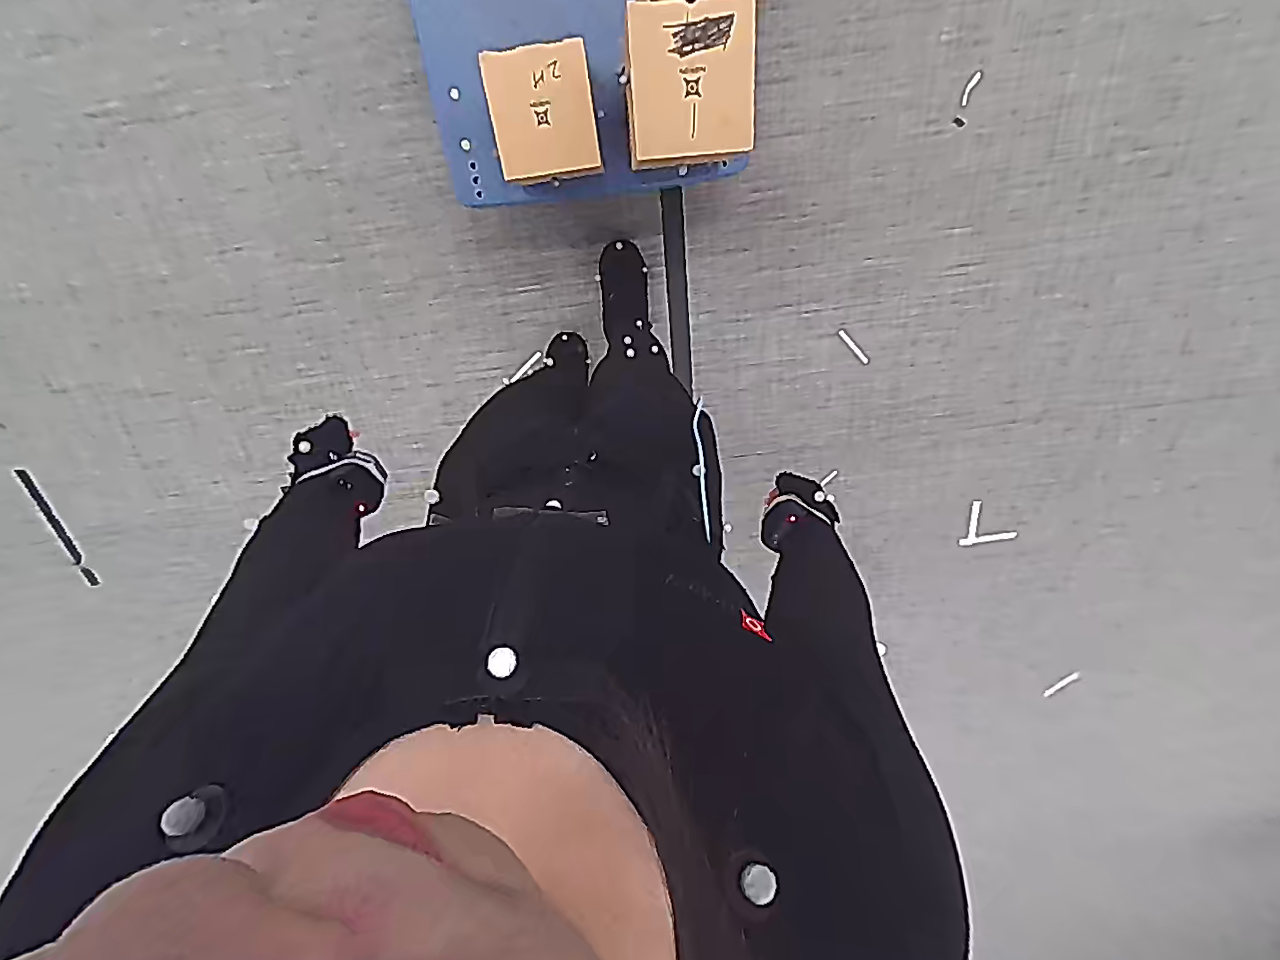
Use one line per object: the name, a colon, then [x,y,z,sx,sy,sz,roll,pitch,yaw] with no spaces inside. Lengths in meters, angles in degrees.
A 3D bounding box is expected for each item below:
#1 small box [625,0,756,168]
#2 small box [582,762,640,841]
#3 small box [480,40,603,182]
small box: [0.067,-0.566,0.788,0.168,0.176,0.179,-5,117,0]
small box: [-0.093,1.089,1.839,0.179,0.176,0.168,-7,118,1]
small box: [-0.158,-0.622,0.935,0.168,0.176,0.179,-8,116,1]
